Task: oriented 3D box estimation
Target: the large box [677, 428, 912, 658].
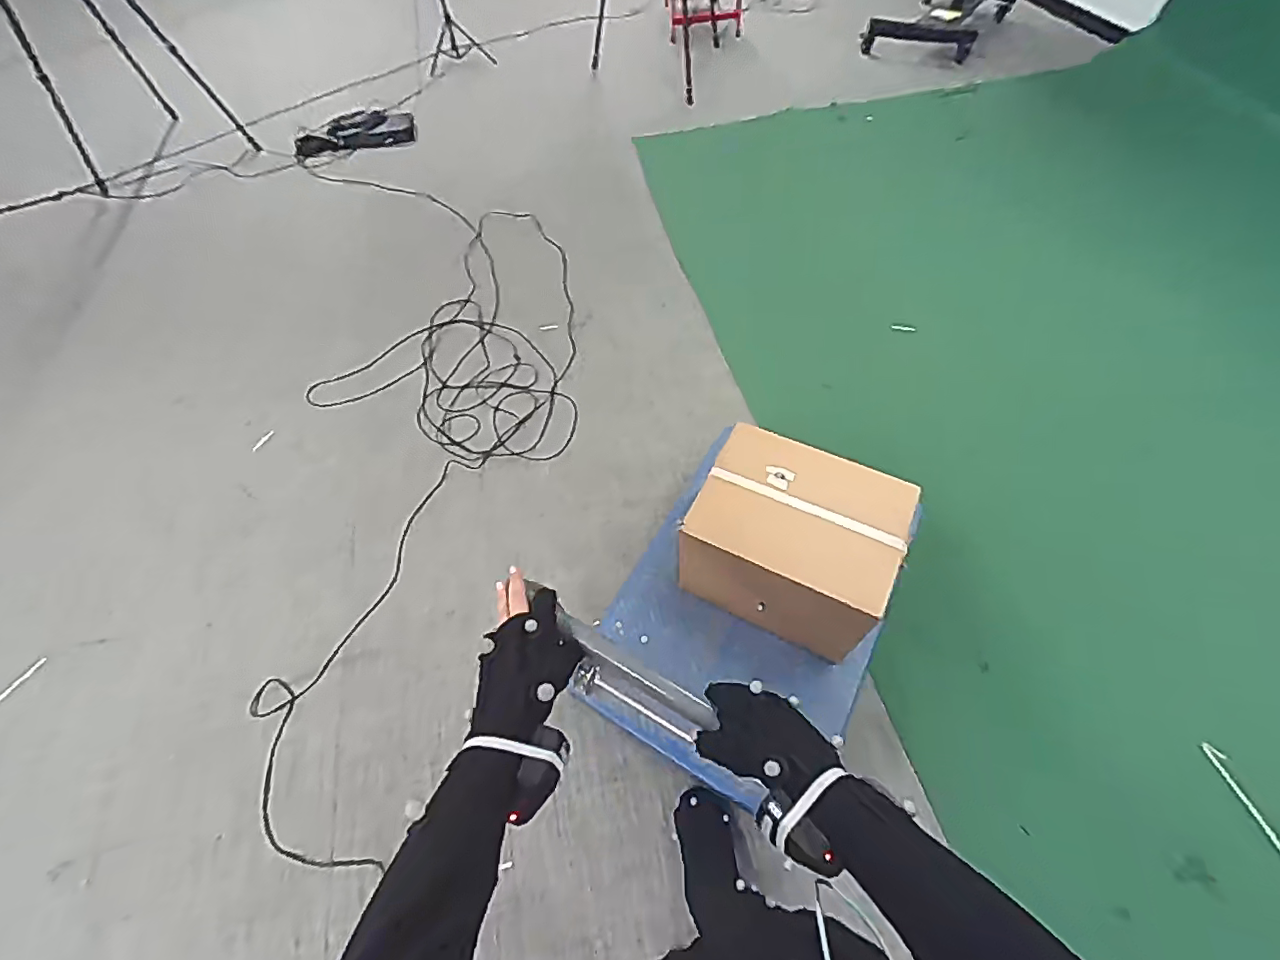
[{"bbox_3d":[0.329,0.145,1.224,0.408,0.320,0.320,23,60,18],"label":"large box"}]
